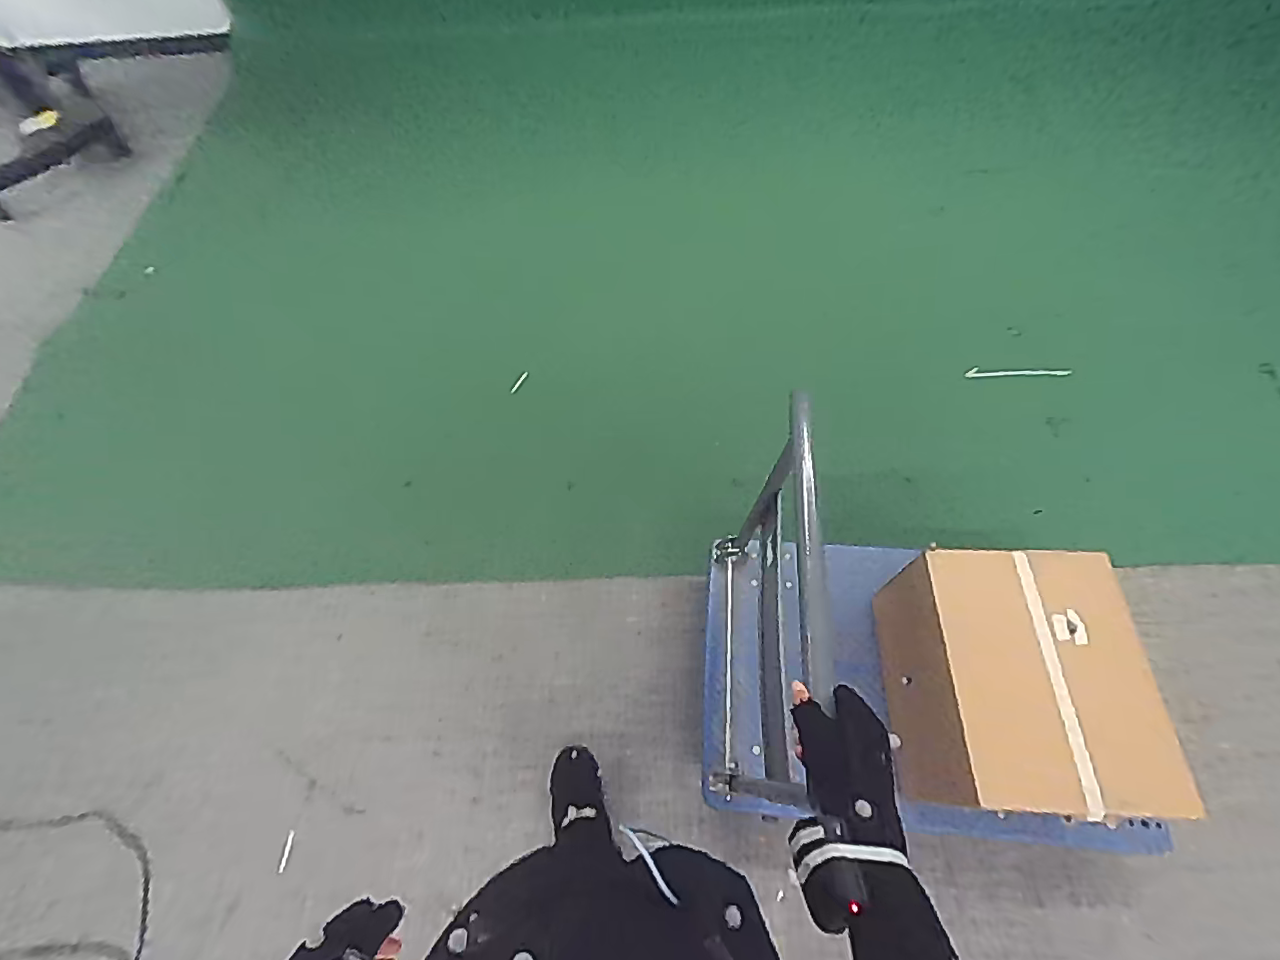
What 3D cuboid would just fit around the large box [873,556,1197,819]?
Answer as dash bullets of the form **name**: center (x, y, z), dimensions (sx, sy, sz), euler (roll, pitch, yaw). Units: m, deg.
- **large box**: center (0.663, 0.389, 1.007), dimensions (0.320, 0.320, 0.408), euler (2, 60, 4)
